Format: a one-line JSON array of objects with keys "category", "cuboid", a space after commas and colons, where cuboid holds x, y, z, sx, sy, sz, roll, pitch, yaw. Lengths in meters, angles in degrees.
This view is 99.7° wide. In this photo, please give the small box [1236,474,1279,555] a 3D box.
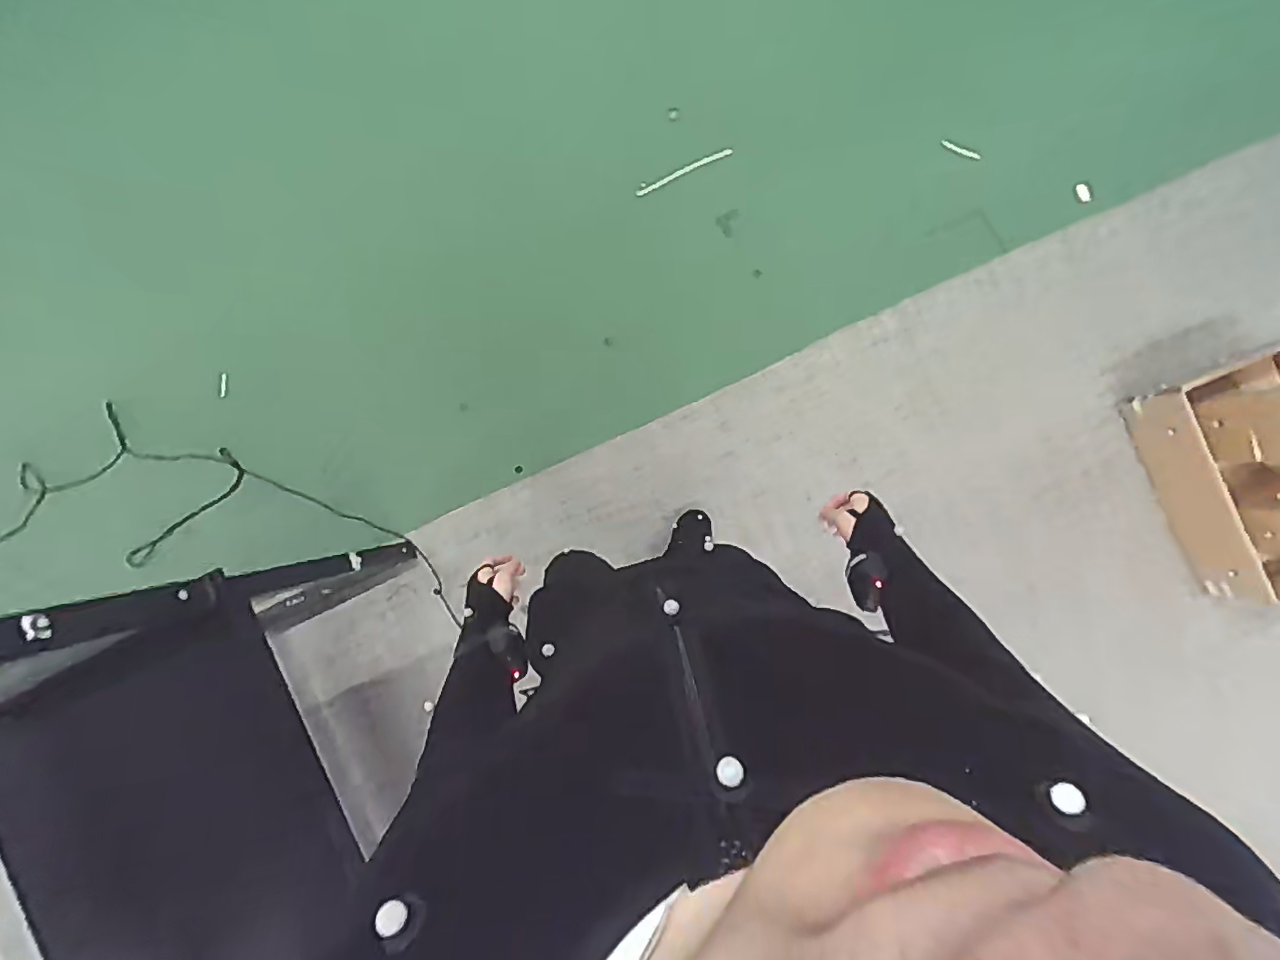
[{"category": "small box", "cuboid": [1.726, 0.092, 1.398, 0.179, 0.176, 0.168, -39, 87, 2]}]

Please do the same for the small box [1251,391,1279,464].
[{"category": "small box", "cuboid": [1.597, -0.144, 1.249, 0.168, 0.176, 0.179, -19, 89, 3]}]

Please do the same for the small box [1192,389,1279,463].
[{"category": "small box", "cuboid": [1.607, -0.142, 1.412, 0.179, 0.176, 0.168, -12, 89, 2]}]
